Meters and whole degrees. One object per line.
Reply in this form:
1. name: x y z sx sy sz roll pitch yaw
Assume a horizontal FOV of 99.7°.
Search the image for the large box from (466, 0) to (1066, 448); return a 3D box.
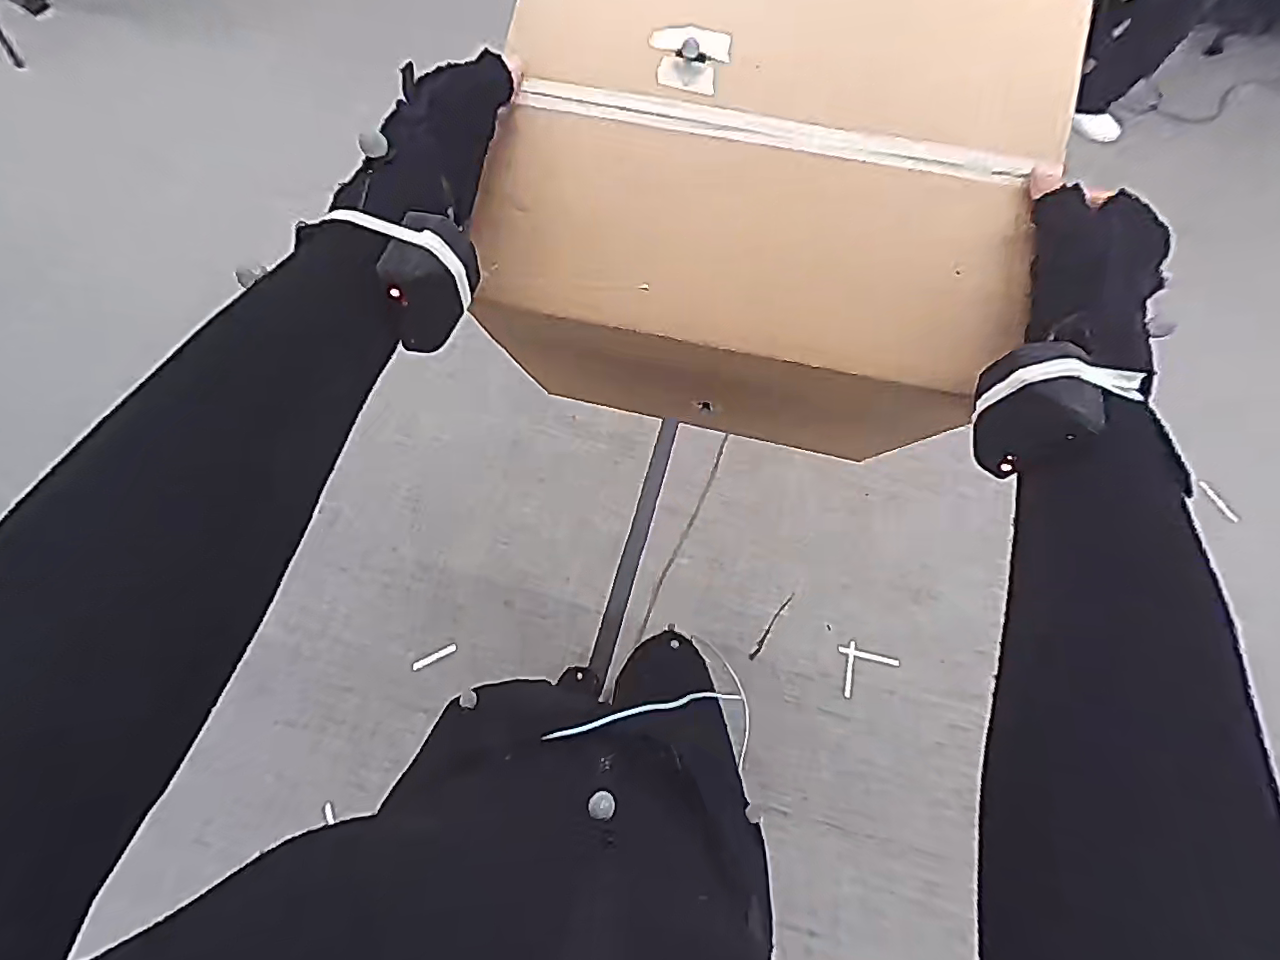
1. large box: 0.103 -0.235 0.554 0.408 0.320 0.320 13 86 6
